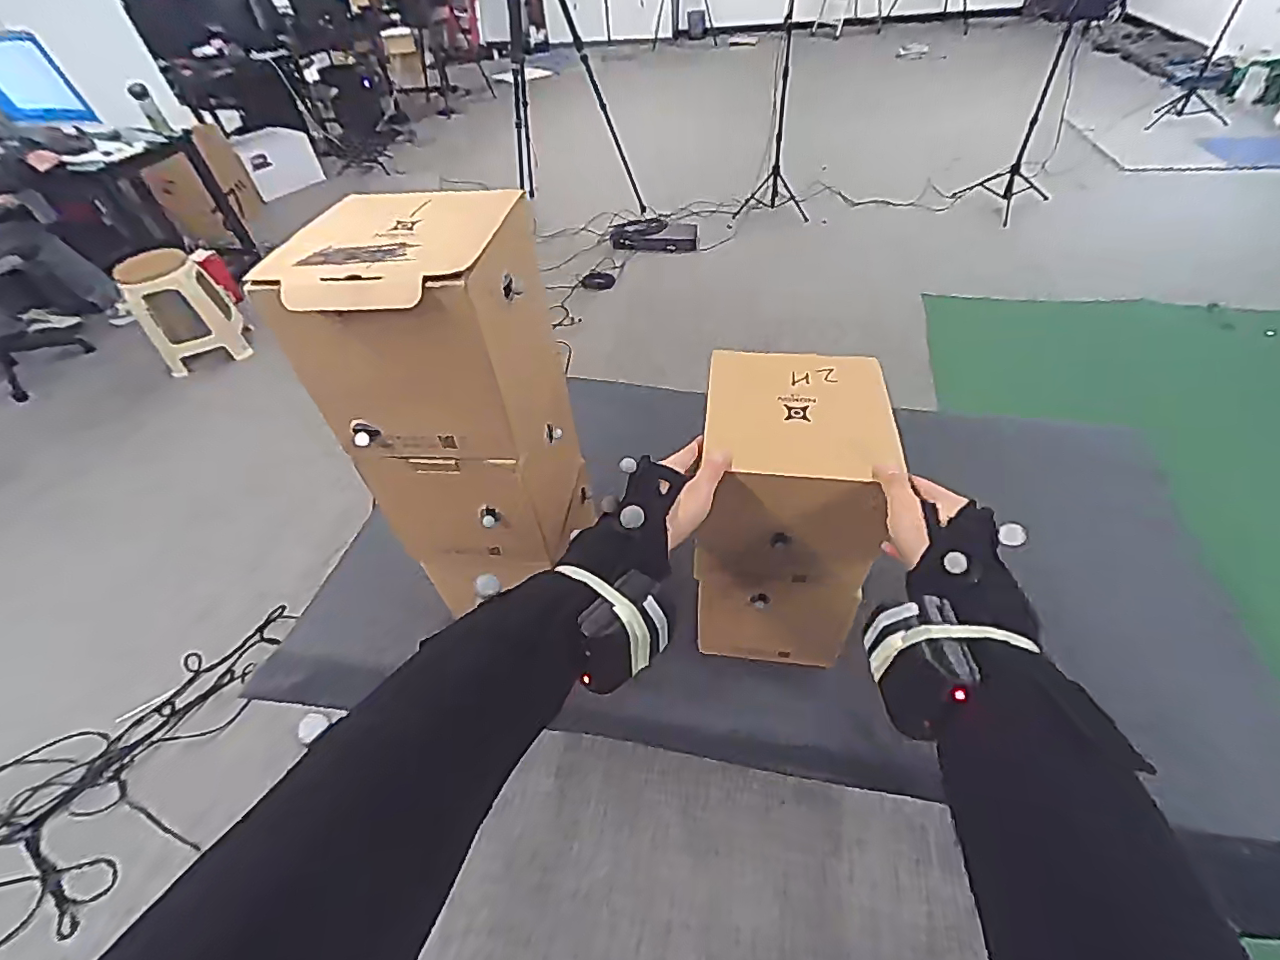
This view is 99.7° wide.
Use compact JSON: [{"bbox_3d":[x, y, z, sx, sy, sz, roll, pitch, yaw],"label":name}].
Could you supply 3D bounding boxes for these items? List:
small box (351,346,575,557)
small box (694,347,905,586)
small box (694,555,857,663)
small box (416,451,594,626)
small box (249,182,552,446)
[{"bbox_3d":[-0.174,-0.032,0.602,0.168,0.176,0.179,3,46,6],"label":"small box"},{"bbox_3d":[0.145,-0.012,0.549,0.168,0.176,0.179,6,48,7],"label":"small box"},{"bbox_3d":[0.157,0.101,0.672,0.168,0.176,0.179,4,47,8],"label":"small box"},{"bbox_3d":[-0.162,0.077,0.722,0.168,0.176,0.179,3,47,7],"label":"small box"},{"bbox_3d":[-0.182,-0.145,0.484,0.168,0.176,0.179,2,46,5],"label":"small box"}]
